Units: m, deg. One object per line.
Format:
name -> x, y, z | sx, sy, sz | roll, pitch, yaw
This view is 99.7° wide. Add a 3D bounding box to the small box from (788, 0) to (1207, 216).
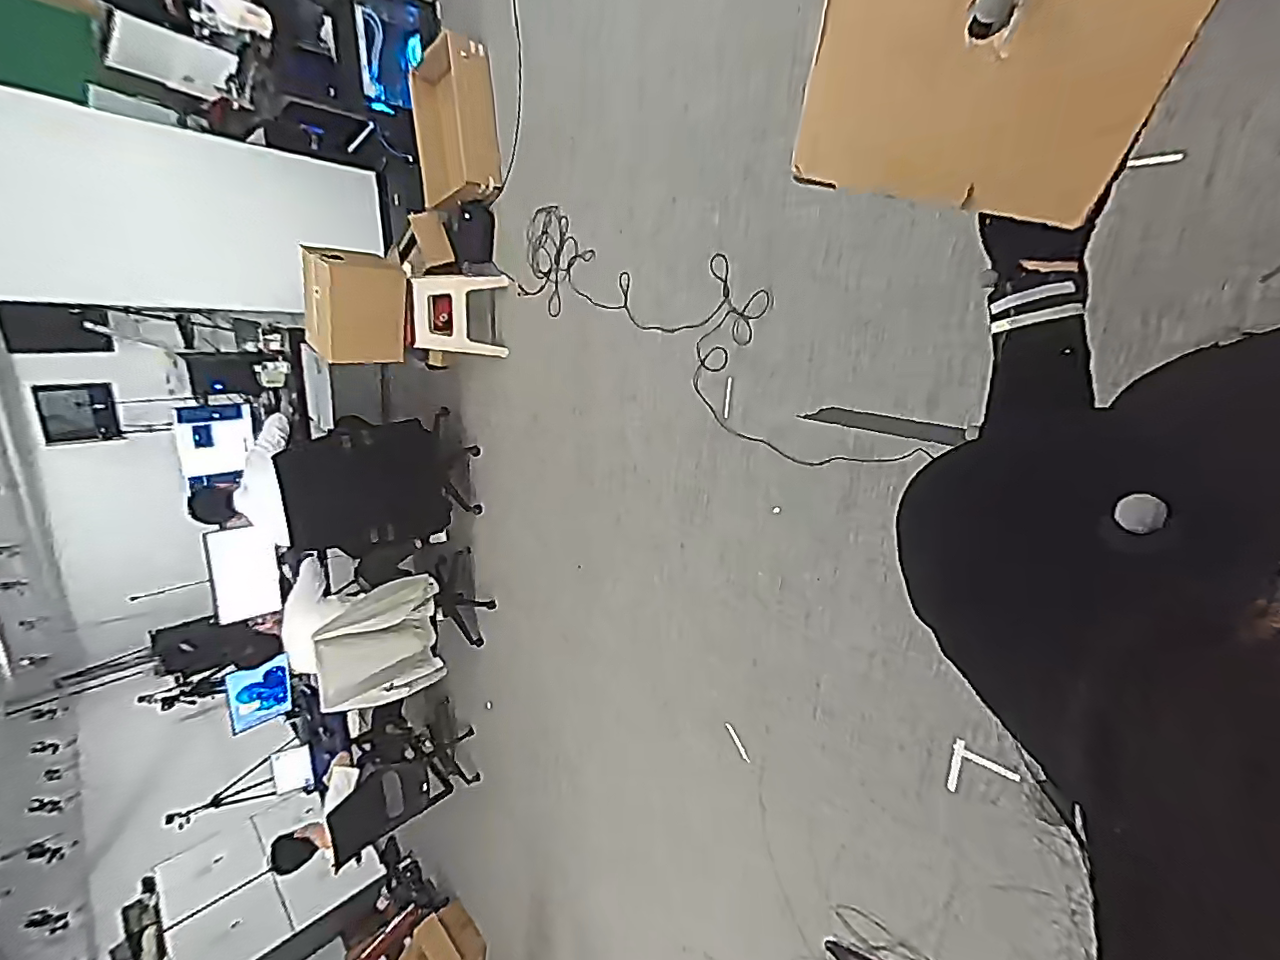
small box -> 0.199, -0.271, 0.297 | 0.168, 0.179, 0.176 | 22, 140, 21
